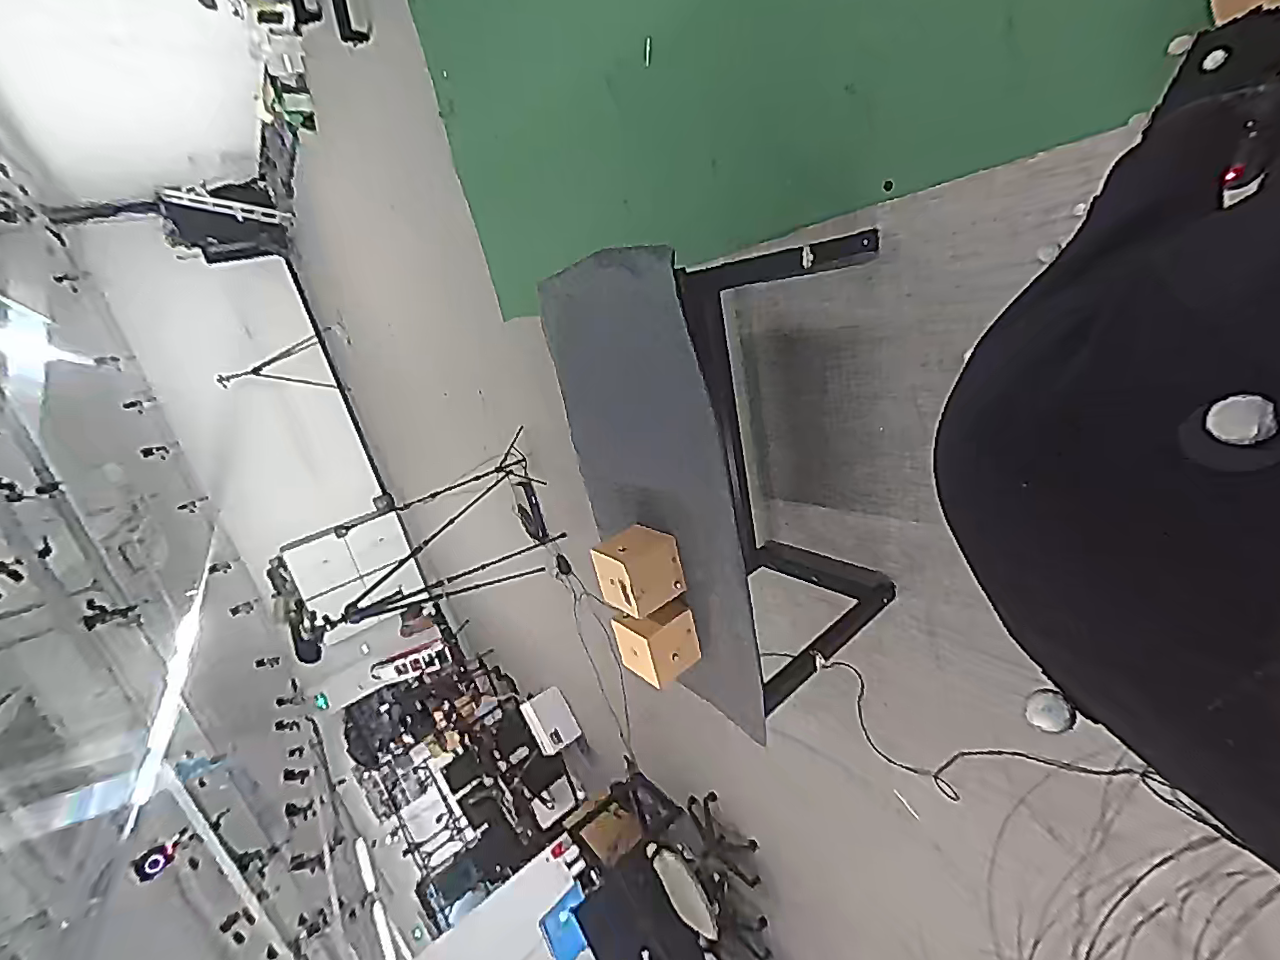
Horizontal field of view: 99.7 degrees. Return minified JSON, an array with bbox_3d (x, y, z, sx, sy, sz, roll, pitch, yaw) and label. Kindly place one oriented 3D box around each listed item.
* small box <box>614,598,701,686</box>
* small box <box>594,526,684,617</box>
[{"bbox_3d":[0.058,0.445,1.541,0.179,0.176,0.168,11,121,54],"label":"small box"},{"bbox_3d":[0.004,0.239,1.472,0.179,0.176,0.168,12,121,54],"label":"small box"}]
